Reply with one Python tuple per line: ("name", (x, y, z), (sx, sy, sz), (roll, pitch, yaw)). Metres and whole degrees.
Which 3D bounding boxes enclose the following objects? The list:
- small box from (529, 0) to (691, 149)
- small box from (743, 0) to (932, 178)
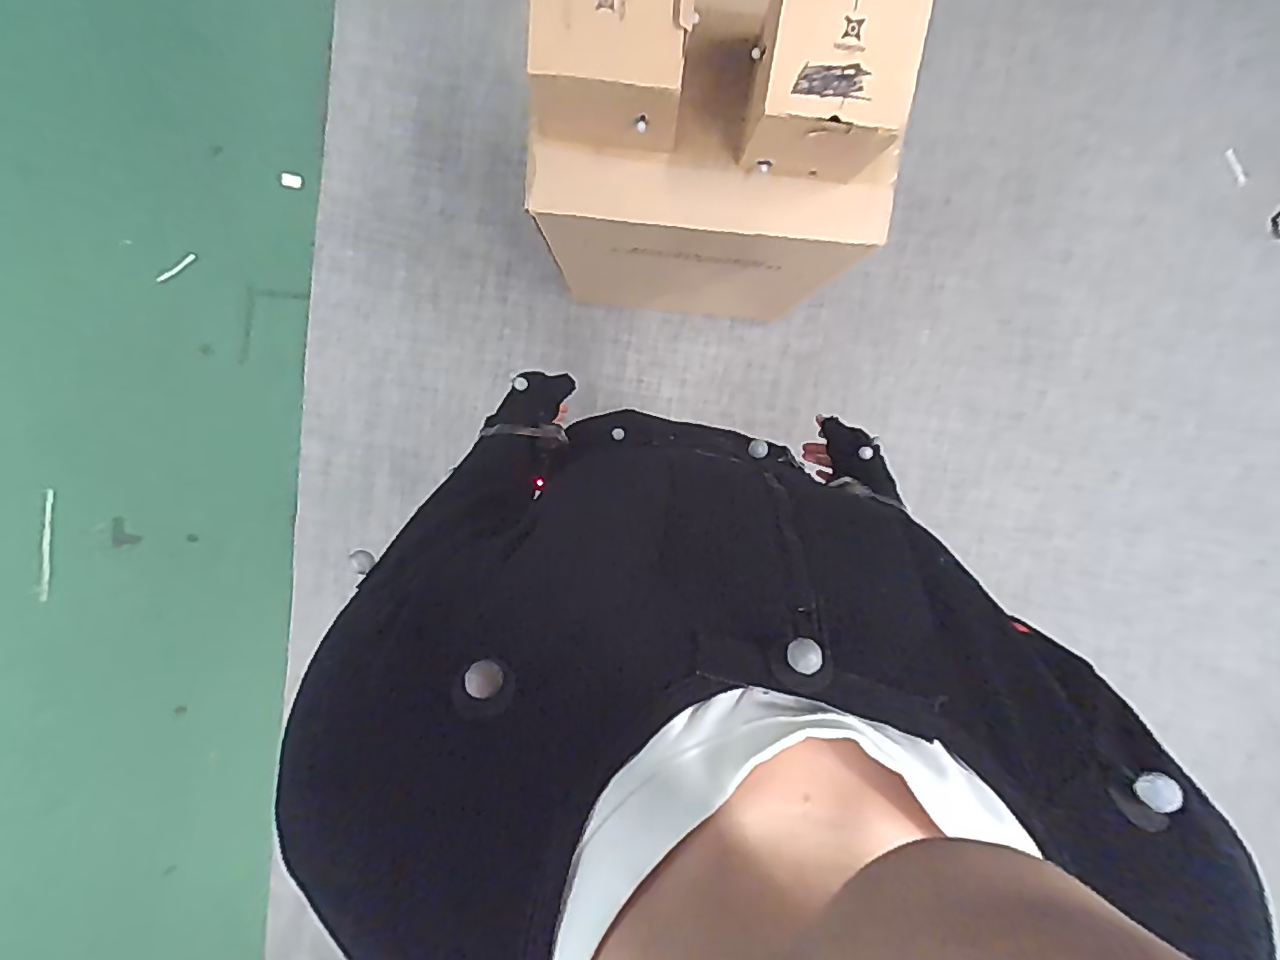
("small box", (-0.030, -0.541, 0.678), (0.179, 0.176, 0.168), (5, 99, 1))
("small box", (0.233, -0.506, 0.677), (0.168, 0.176, 0.179), (8, 100, -1))
